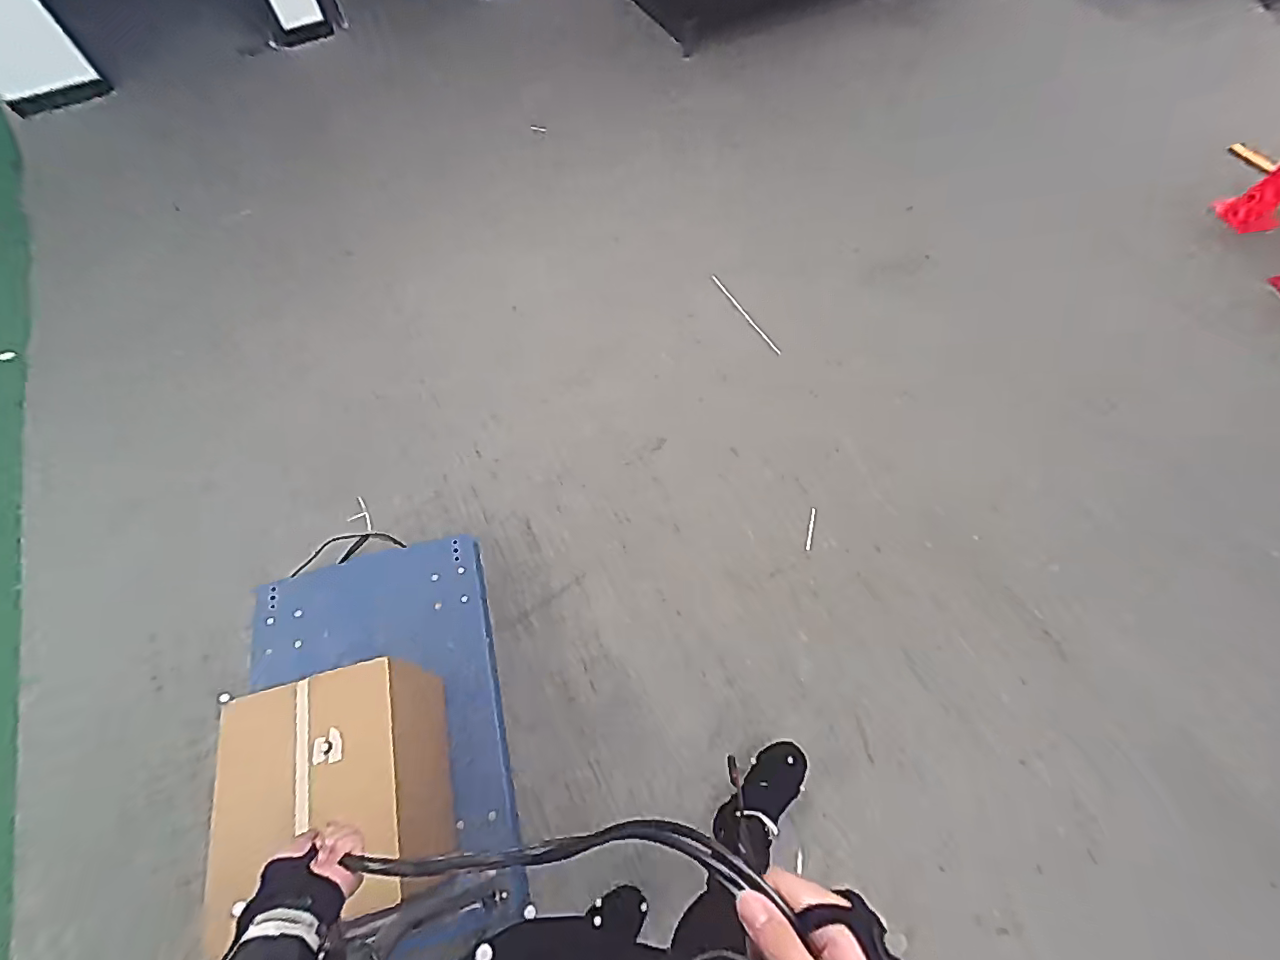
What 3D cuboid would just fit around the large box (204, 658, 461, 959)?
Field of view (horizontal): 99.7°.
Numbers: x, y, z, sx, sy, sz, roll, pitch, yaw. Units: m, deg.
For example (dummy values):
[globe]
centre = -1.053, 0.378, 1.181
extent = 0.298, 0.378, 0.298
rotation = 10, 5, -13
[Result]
[large box]
centre = -0.575, 0.620, 1.067
extent = 0.320, 0.320, 0.408
rotation = -15, 61, -7
